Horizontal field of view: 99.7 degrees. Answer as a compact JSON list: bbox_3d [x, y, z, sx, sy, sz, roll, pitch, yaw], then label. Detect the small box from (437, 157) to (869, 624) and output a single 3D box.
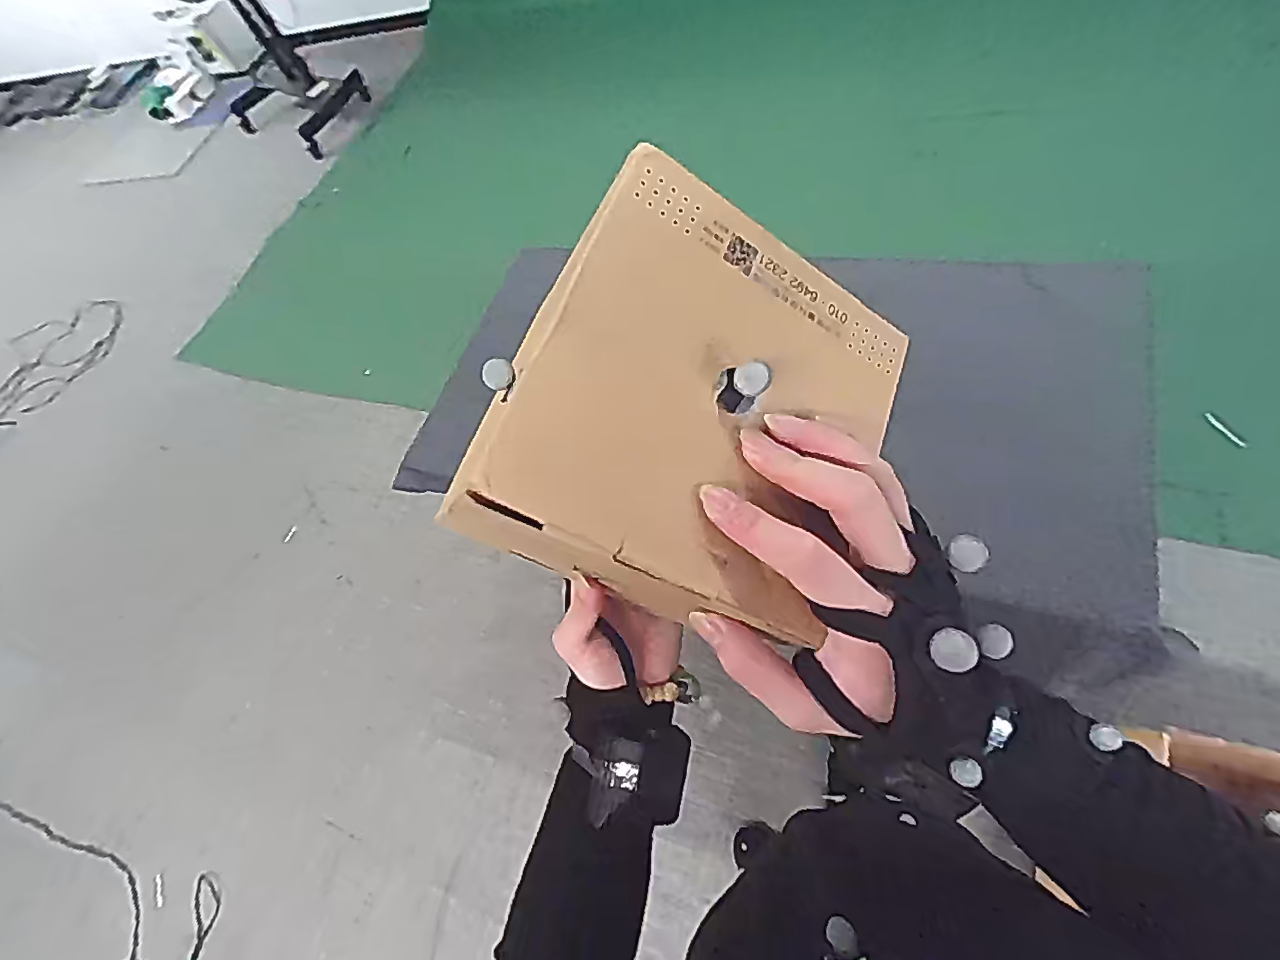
[{"bbox_3d":[0.005,-0.032,0.310,0.168,0.179,0.176,28,71,-17],"label":"small box"}]
